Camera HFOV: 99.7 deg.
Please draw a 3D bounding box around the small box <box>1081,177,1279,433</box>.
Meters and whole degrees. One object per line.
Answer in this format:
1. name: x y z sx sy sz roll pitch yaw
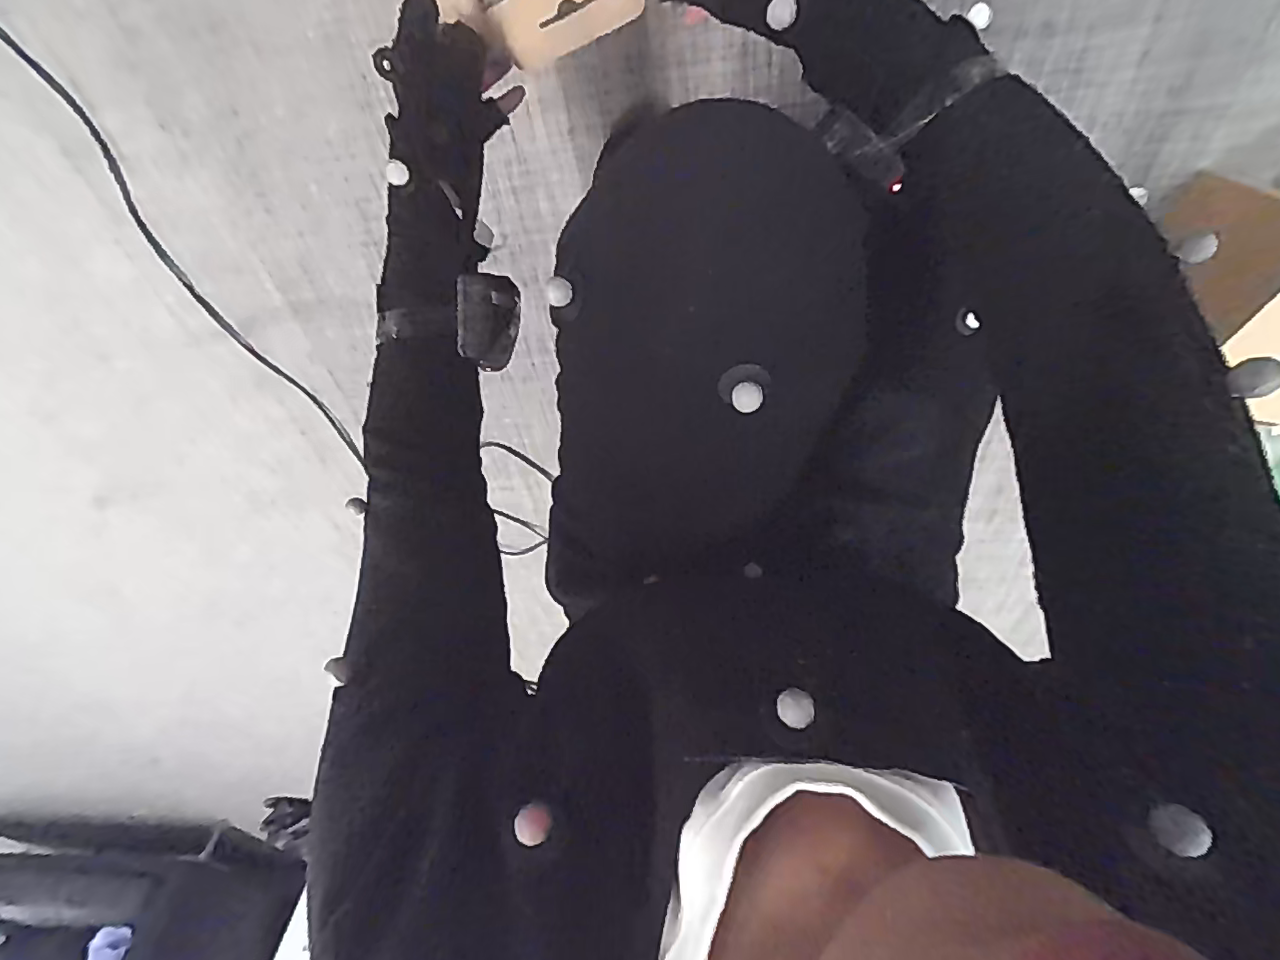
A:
1. small box: 0.606 -0.177 0.549 0.168 0.176 0.179 9 133 -5
